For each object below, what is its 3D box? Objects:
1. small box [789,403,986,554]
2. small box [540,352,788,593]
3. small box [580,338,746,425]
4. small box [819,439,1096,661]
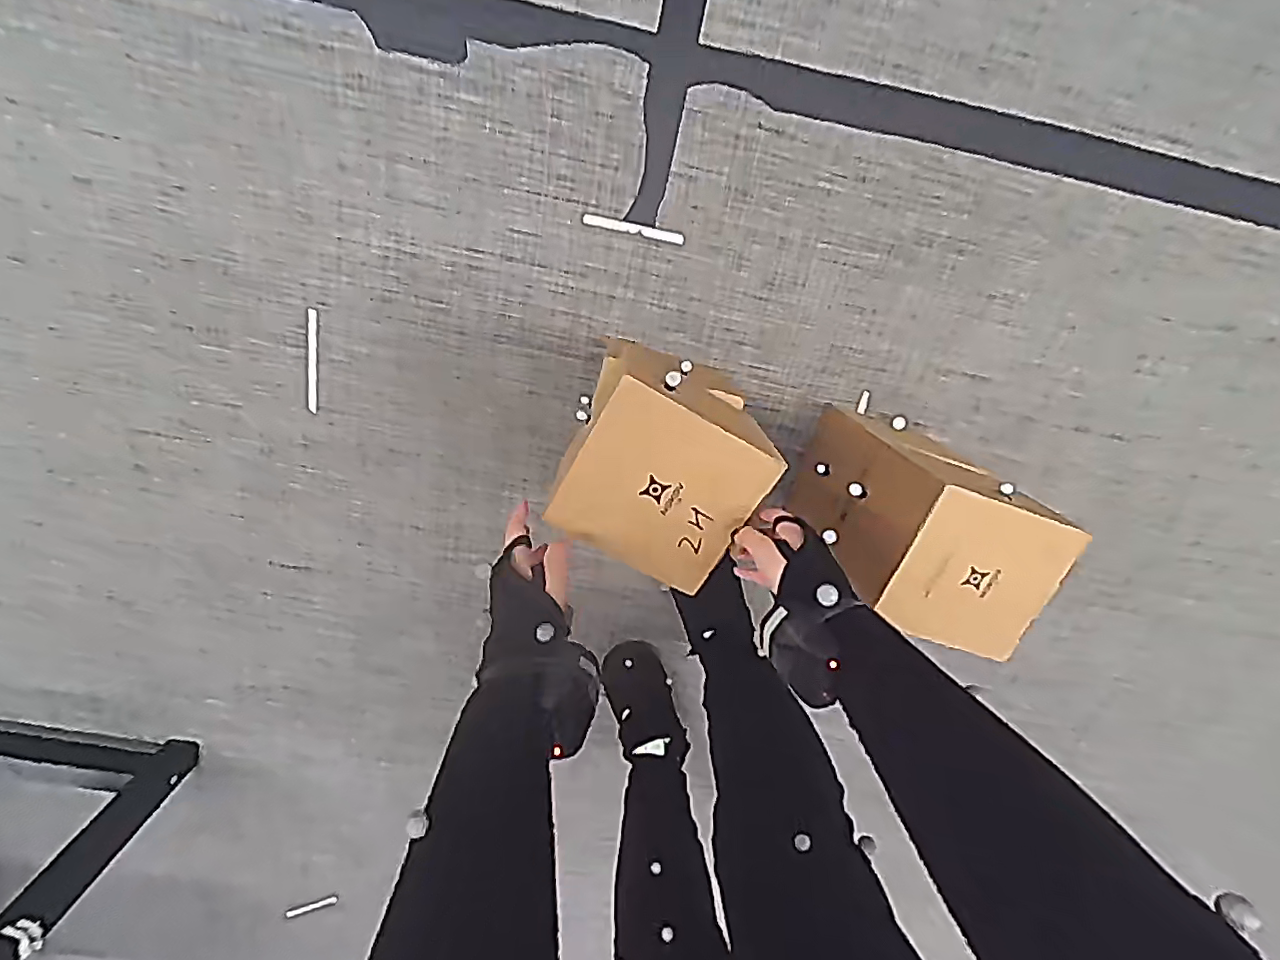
[{"bbox_3d":[0.332,0.011,0.771,0.168,0.176,0.179,17,110,-8],"label":"small box"},{"bbox_3d":[0.019,-0.020,0.571,0.179,0.176,0.168,29,110,-12],"label":"small box"},{"bbox_3d":[0.016,-0.080,0.725,0.179,0.176,0.168,16,111,-9],"label":"small box"},{"bbox_3d":[0.340,0.070,0.619,0.179,0.176,0.168,19,110,-9],"label":"small box"}]
